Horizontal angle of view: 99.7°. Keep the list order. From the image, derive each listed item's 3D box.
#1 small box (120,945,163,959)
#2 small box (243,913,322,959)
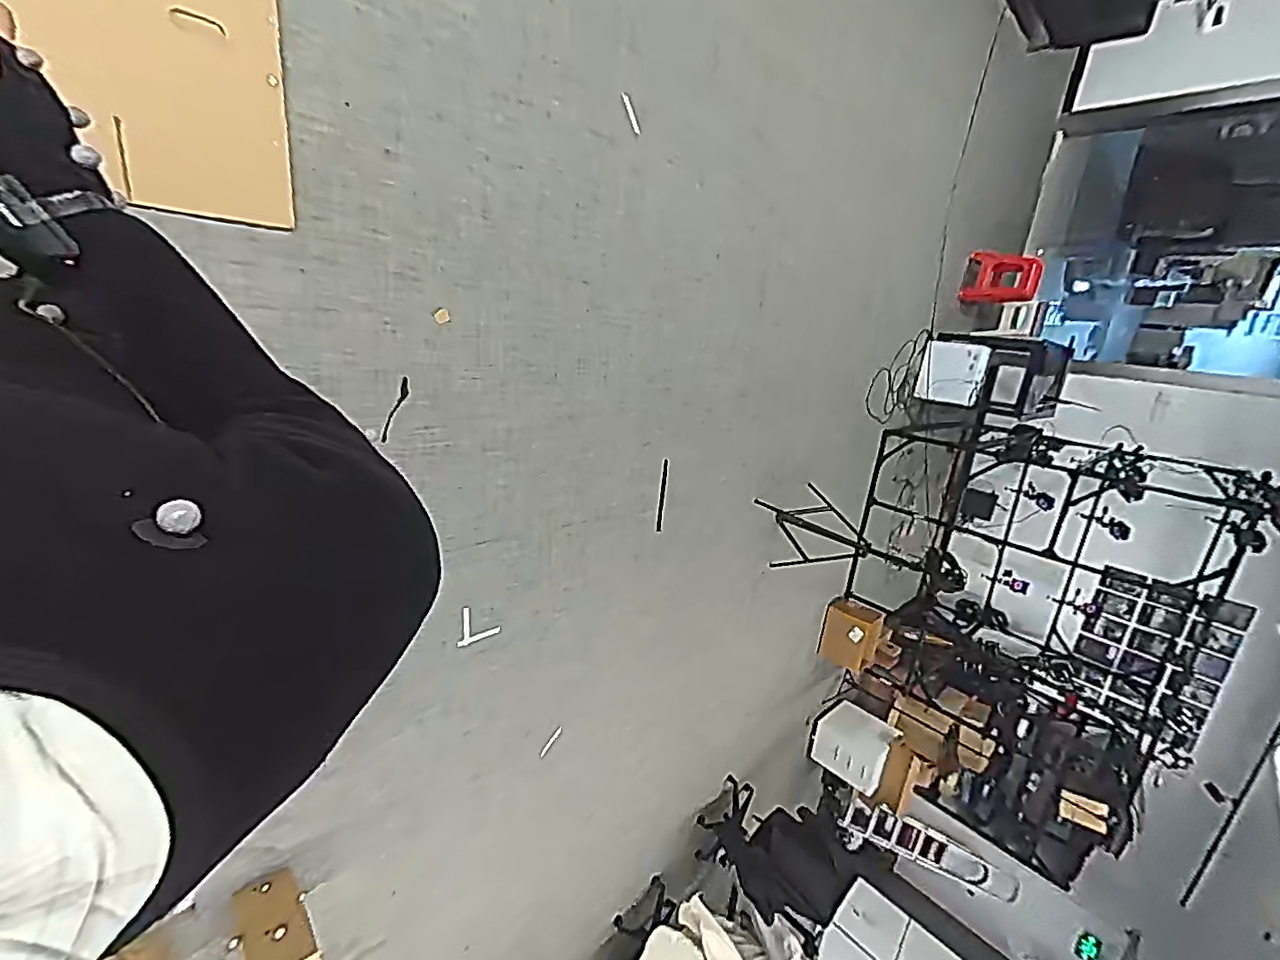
[{"bbox_3d":[-1.393,1.420,1.460,0.168,0.176,0.179,-12,114,-42],"label":"small box"},{"bbox_3d":[-1.042,1.433,1.575,0.168,0.176,0.179,-7,109,-44],"label":"small box"}]
